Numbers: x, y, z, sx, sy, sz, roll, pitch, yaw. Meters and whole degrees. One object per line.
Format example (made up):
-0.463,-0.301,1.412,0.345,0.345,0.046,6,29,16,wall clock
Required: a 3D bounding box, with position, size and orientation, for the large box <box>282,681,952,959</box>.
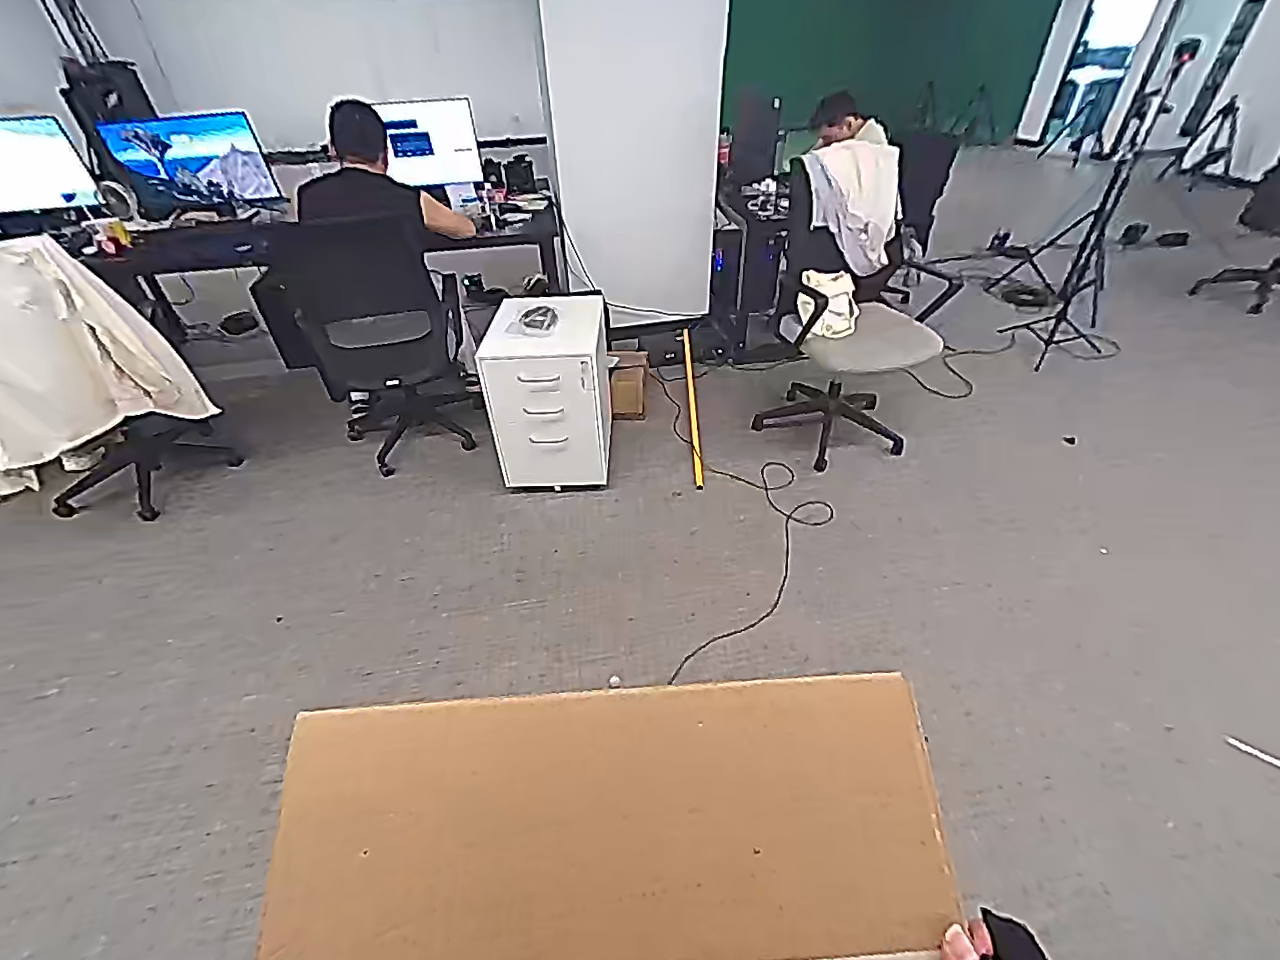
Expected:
-0.010,0.350,0.452,0.408,0.320,0.320,-4,68,-1,large box
